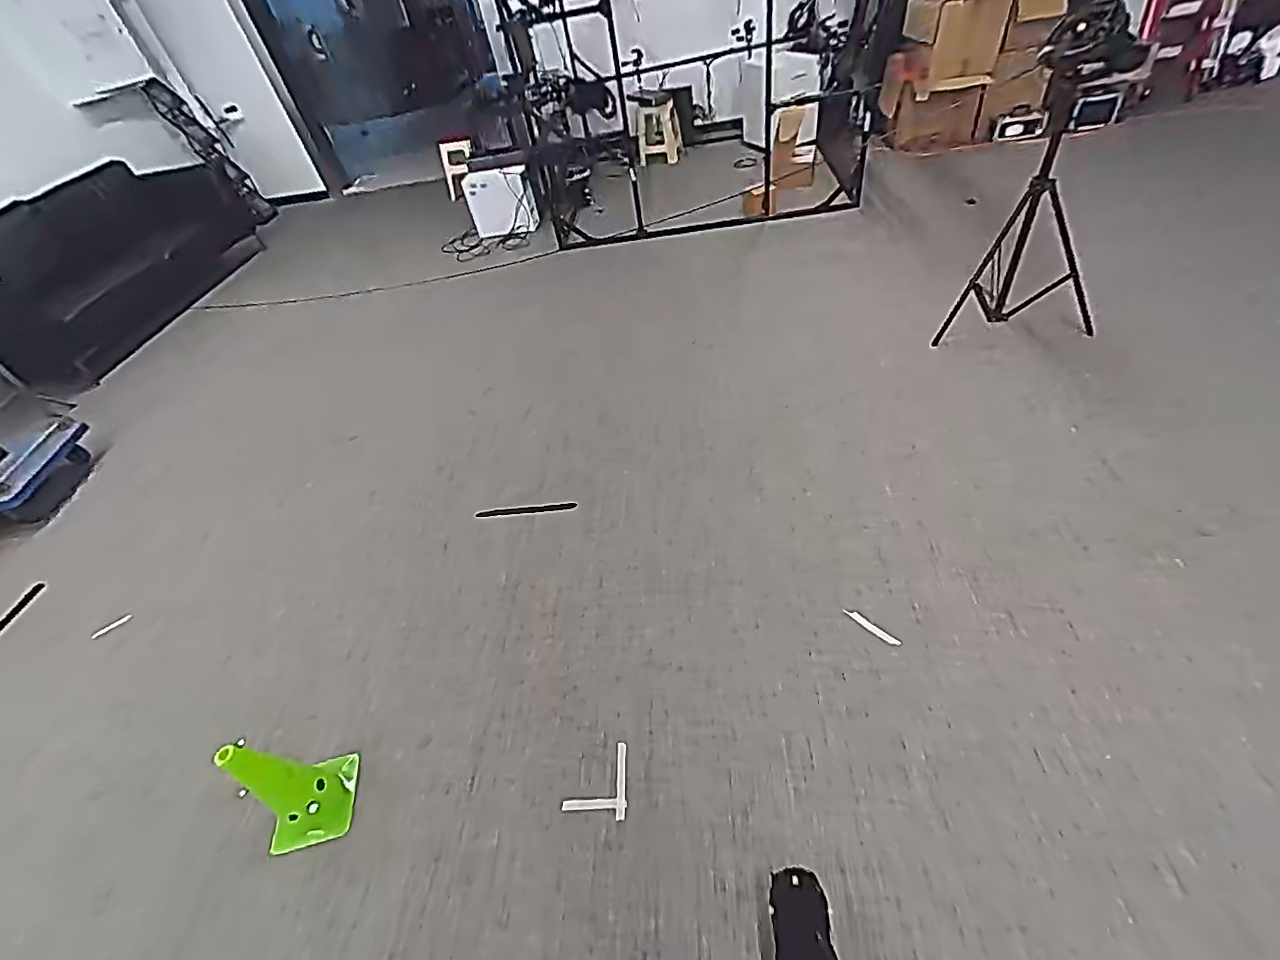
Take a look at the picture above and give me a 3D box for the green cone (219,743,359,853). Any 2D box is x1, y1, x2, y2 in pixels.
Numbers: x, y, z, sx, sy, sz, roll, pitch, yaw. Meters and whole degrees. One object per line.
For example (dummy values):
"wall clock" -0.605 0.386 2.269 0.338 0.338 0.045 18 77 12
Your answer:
"green cone" -0.865 0.717 1.284 0.202 0.368 0.200 -15 44 -4
